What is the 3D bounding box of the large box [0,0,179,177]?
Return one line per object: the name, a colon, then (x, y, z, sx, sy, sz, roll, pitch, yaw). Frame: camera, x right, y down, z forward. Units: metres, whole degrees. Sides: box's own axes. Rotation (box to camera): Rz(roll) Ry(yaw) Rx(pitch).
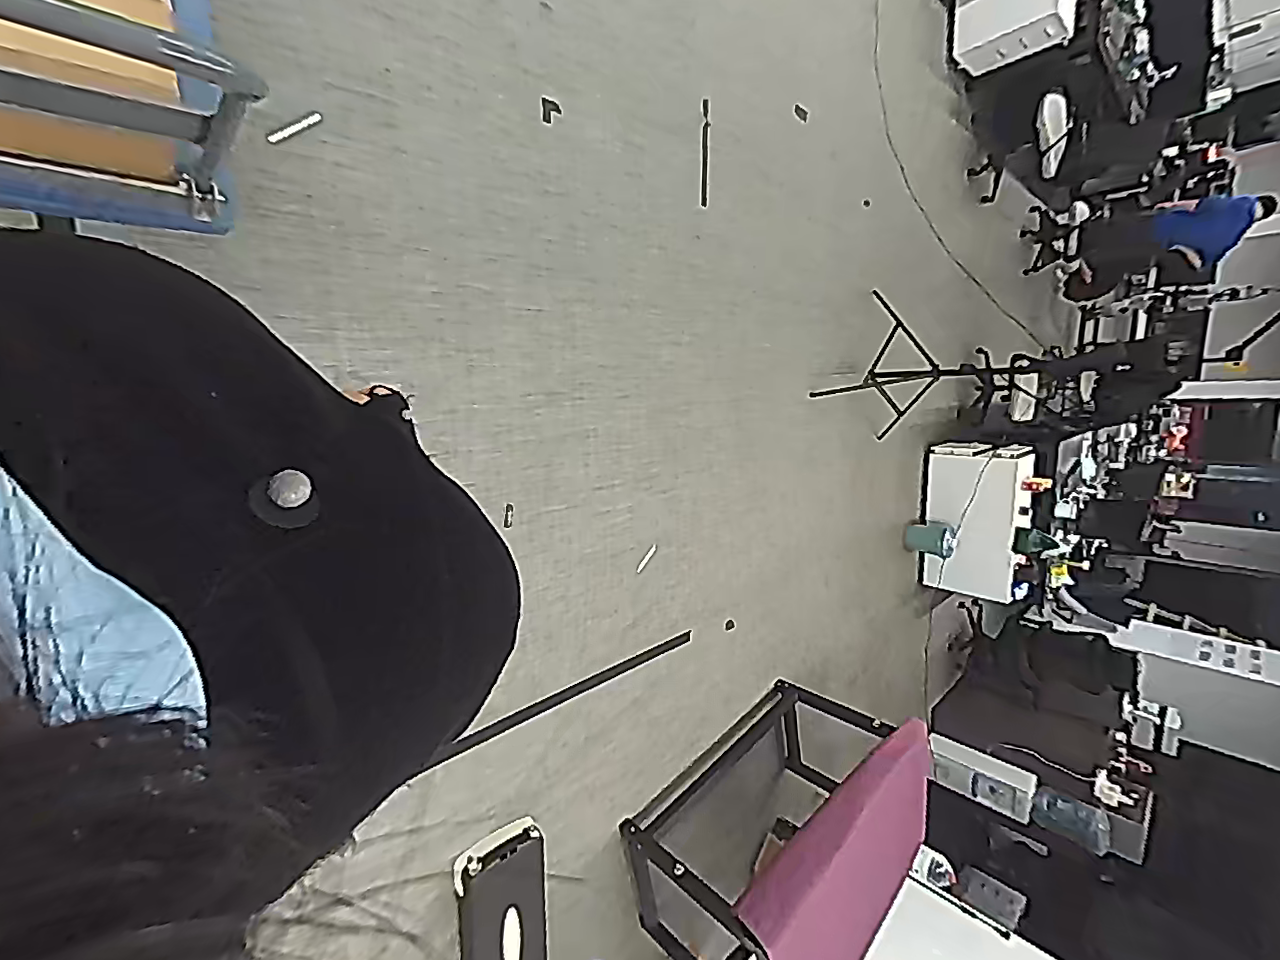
large box: (-0.921, -0.663, 0.733, 0.408, 0.320, 0.320, -10, 103, -43)
